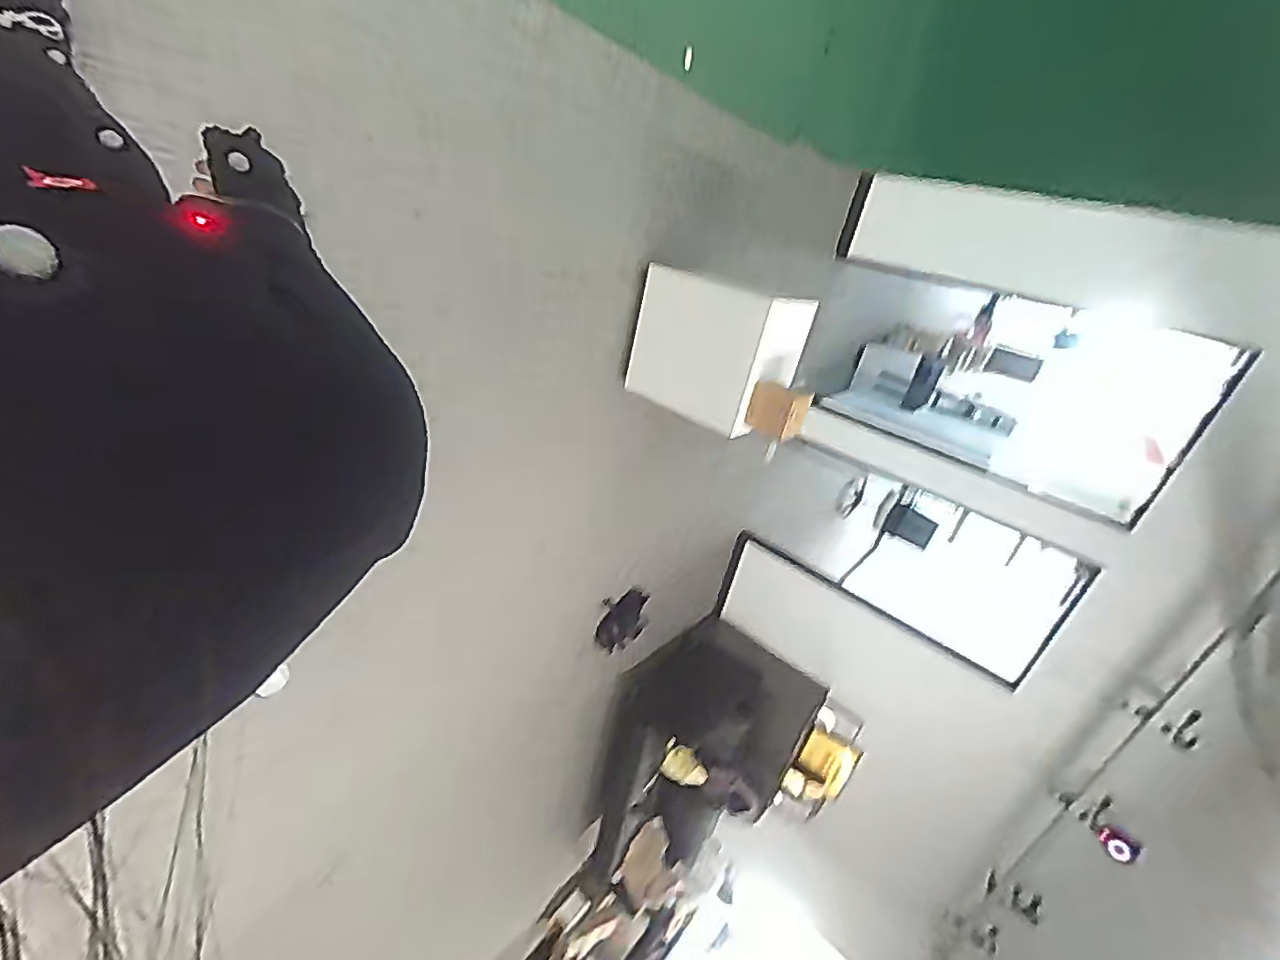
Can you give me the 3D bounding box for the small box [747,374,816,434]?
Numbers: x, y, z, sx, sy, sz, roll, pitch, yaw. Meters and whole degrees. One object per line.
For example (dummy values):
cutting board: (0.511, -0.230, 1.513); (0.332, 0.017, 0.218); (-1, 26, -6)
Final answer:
small box: (0.533, -0.293, 2.042); (0.179, 0.176, 0.168); (-21, 131, -48)
